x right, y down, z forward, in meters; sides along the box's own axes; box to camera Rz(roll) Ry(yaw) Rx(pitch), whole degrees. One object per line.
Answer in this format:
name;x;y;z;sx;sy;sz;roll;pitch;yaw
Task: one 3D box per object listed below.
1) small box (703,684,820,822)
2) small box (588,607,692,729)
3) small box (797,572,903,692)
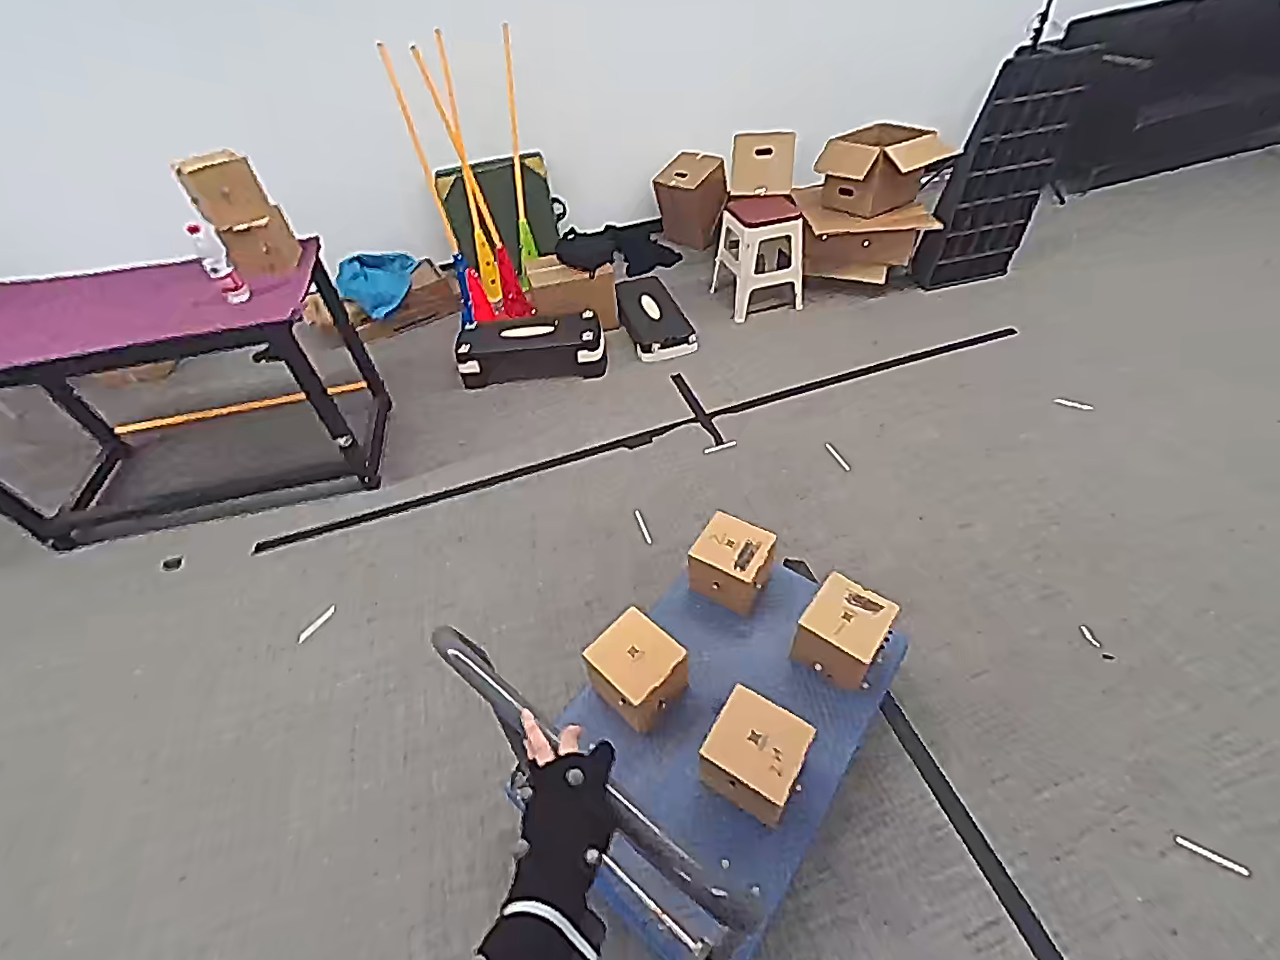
small box;0.243;0.562;1.108;0.179;0.176;0.168;24;53;26
small box;0.002;0.438;1.253;0.179;0.176;0.168;34;57;30
small box;0.487;0.359;1.277;0.168;0.176;0.179;29;57;29
